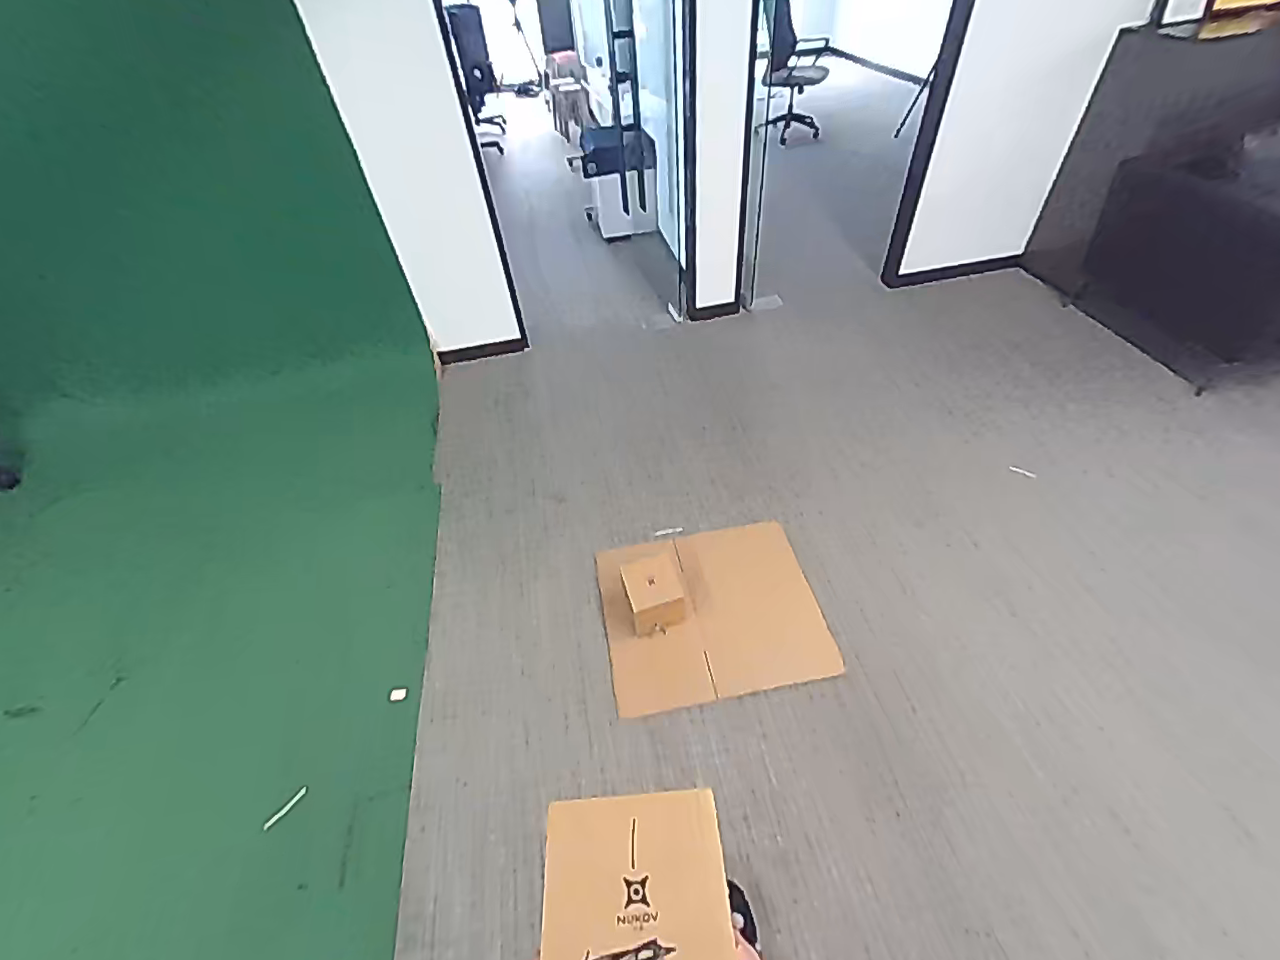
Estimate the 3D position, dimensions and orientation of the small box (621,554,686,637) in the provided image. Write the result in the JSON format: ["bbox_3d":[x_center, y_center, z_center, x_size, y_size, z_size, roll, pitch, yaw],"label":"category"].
[{"bbox_3d":[0.043,0.371,1.737,0.168,0.176,0.179,-15,47,-8],"label":"small box"}]

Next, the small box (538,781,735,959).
[{"bbox_3d":[0.001,0.421,0.526,0.168,0.176,0.179,-5,42,0],"label":"small box"}]
